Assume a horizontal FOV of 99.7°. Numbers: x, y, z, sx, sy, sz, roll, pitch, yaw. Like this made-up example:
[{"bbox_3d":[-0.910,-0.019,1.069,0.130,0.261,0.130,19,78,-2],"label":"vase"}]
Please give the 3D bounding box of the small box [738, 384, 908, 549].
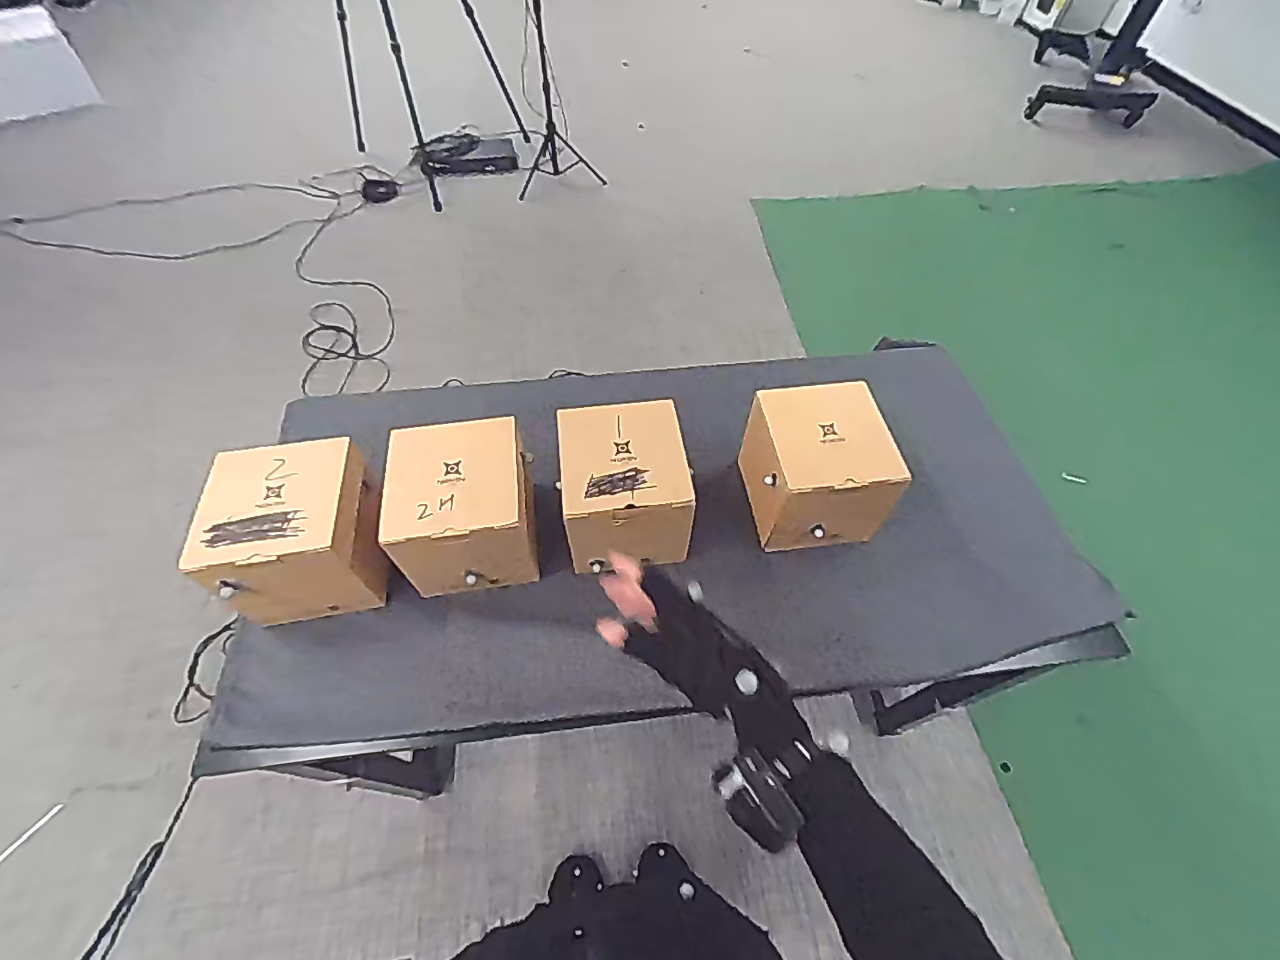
[{"bbox_3d":[0.253,-0.018,0.801,0.168,0.176,0.179,-6,57,-5],"label":"small box"}]
